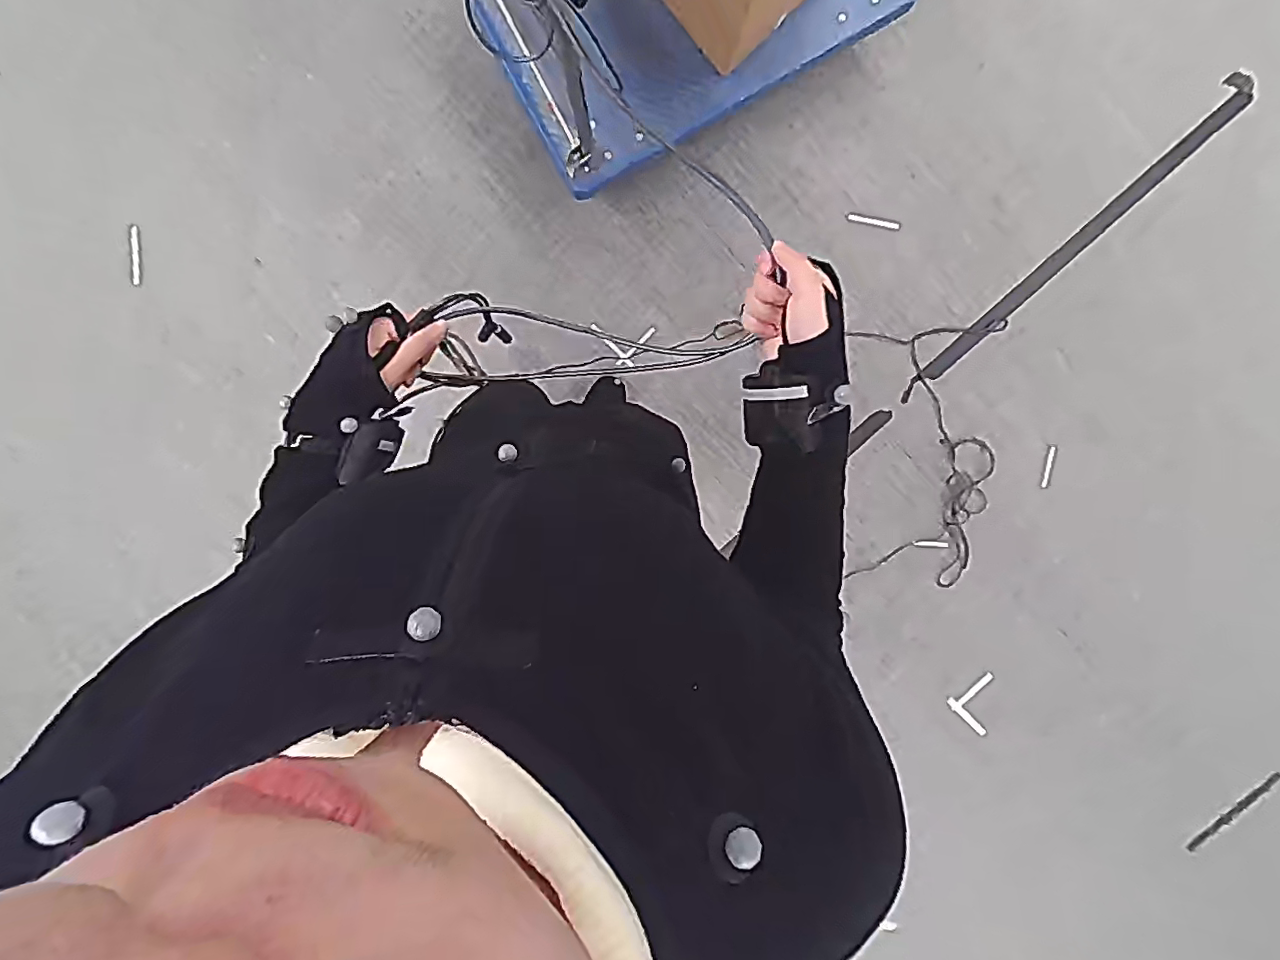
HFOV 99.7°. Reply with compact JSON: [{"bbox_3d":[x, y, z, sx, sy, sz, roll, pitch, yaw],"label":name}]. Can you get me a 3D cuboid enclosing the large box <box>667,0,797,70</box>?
[{"bbox_3d":[0.164,-1.087,0.970,0.320,0.320,0.408,-43,100,6],"label":"large box"}]
